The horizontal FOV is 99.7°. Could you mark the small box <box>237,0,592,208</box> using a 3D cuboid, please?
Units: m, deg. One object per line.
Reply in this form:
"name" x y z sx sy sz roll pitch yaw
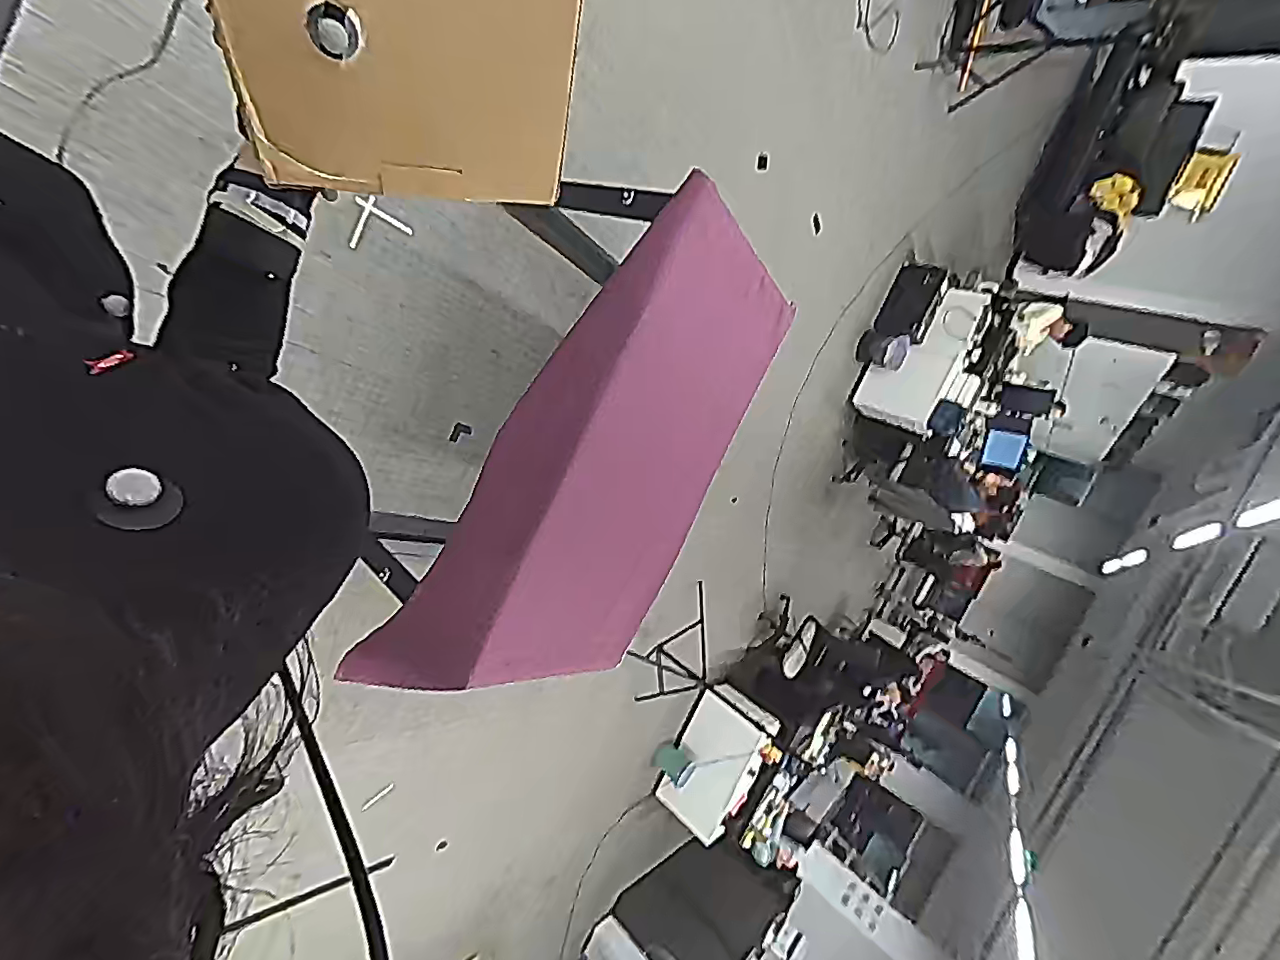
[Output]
"small box" -0.129 -0.284 0.305 0.168 0.179 0.176 -7 145 -25
